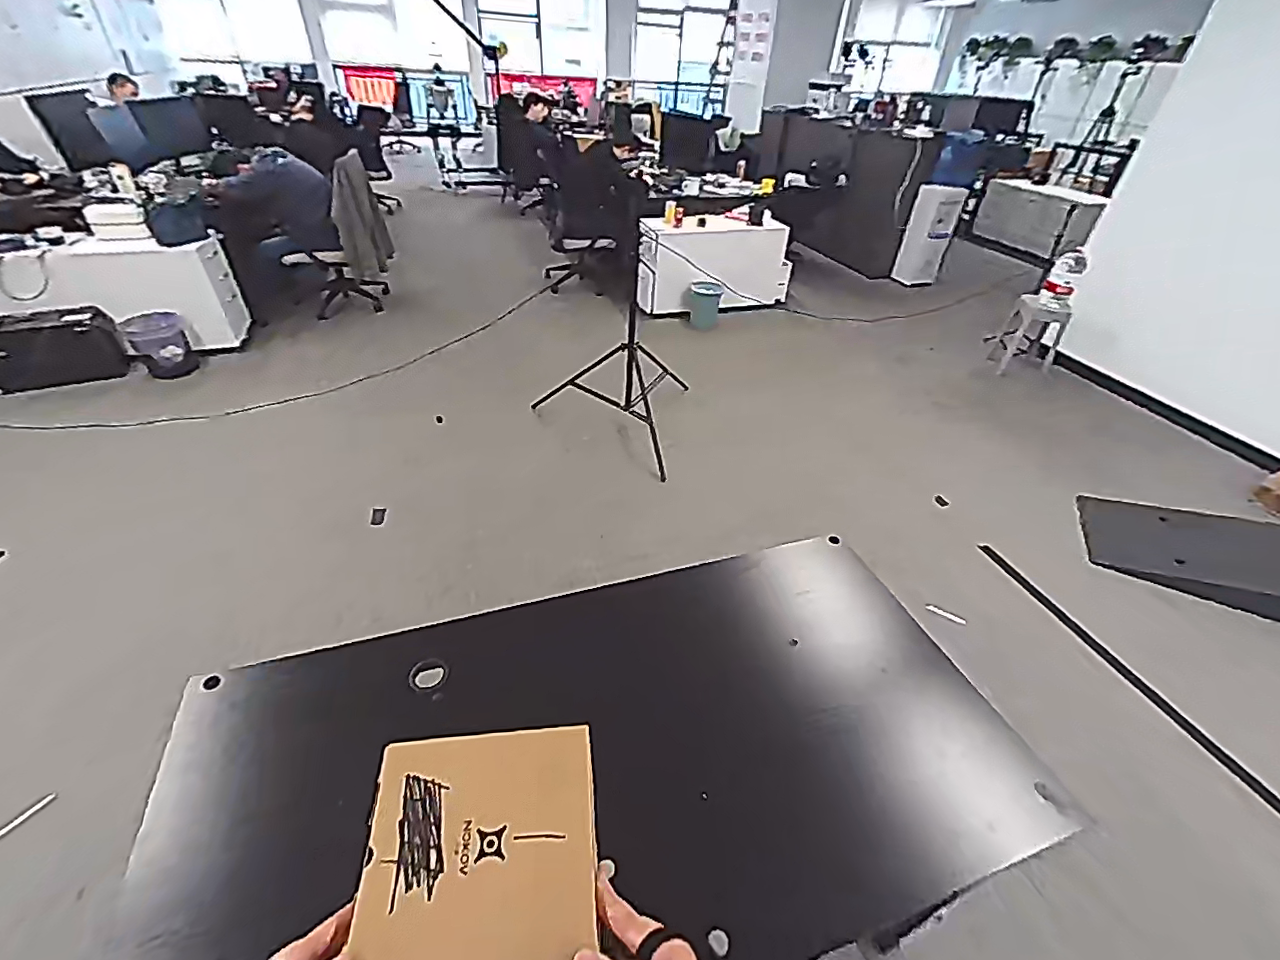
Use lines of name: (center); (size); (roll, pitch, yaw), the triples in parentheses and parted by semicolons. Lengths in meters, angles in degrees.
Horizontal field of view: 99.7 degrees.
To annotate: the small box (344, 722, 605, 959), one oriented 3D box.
small box: (-0.124, 0.336, 0.476); (0.179, 0.176, 0.168); (-3, 44, -6)
